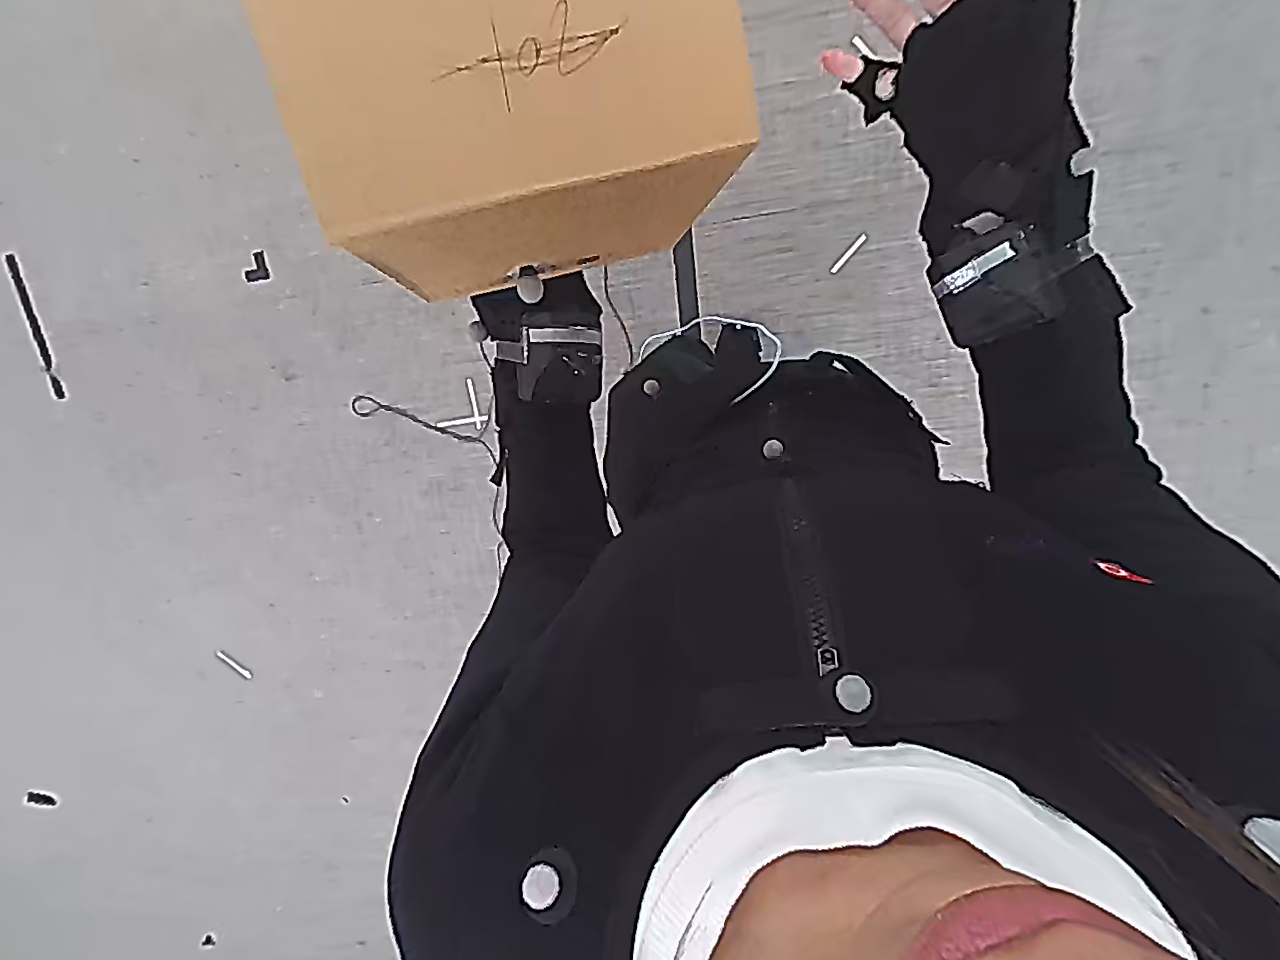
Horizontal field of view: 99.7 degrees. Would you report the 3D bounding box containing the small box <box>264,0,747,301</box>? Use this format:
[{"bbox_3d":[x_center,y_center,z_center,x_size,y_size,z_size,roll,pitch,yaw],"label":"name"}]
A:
[{"bbox_3d":[-0.067,-0.207,0.272,0.168,0.176,0.179,-16,102,-6],"label":"small box"}]
